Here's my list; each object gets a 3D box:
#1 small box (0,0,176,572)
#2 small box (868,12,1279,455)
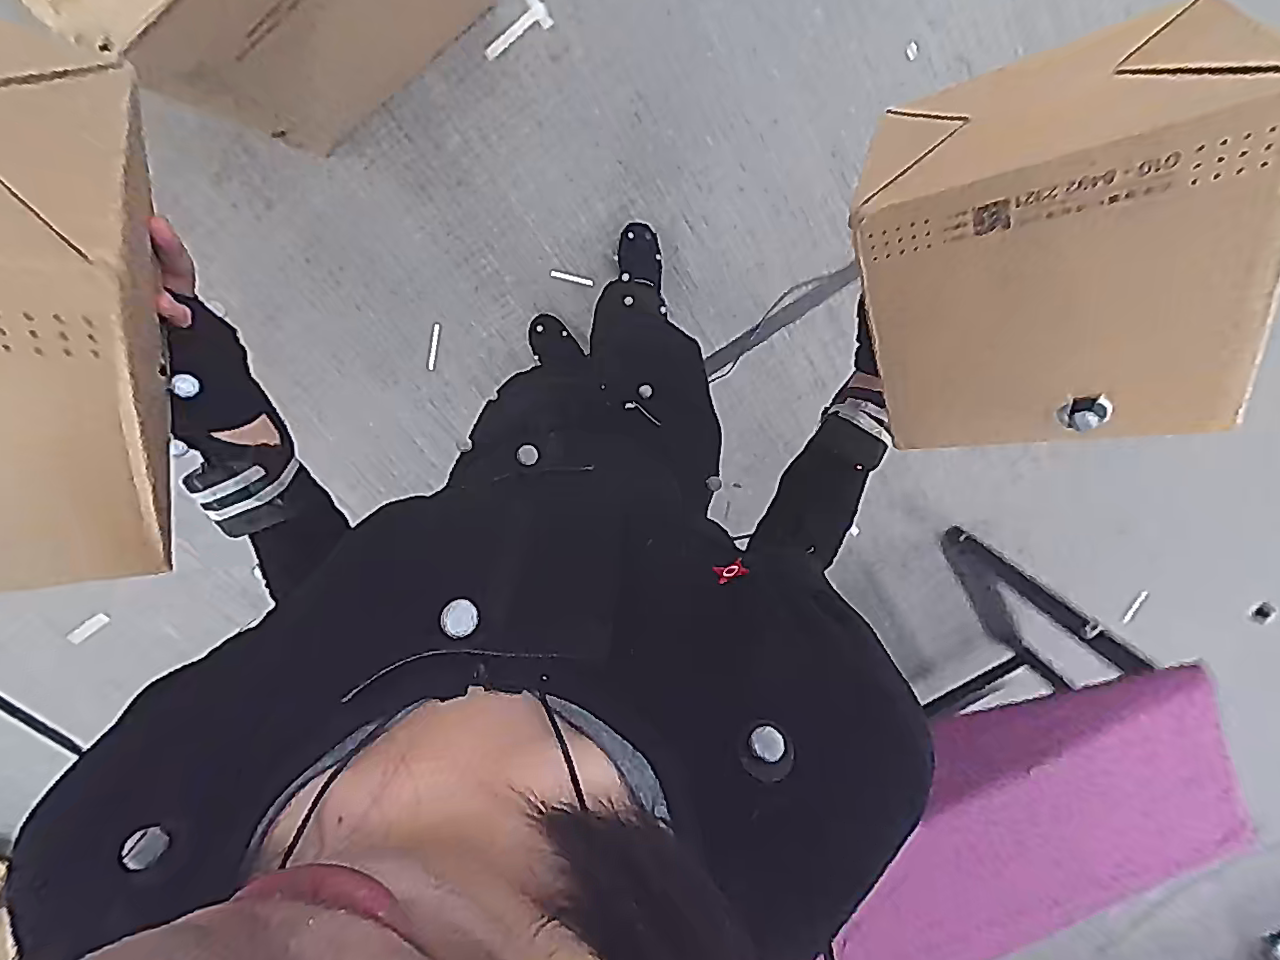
[{"bbox_3d":[-0.289,-0.078,0.201,0.168,0.179,0.176,-4,141,-35],"label":"small box"},{"bbox_3d":[0.244,-0.137,0.324,0.168,0.179,0.176,-2,133,34],"label":"small box"}]
